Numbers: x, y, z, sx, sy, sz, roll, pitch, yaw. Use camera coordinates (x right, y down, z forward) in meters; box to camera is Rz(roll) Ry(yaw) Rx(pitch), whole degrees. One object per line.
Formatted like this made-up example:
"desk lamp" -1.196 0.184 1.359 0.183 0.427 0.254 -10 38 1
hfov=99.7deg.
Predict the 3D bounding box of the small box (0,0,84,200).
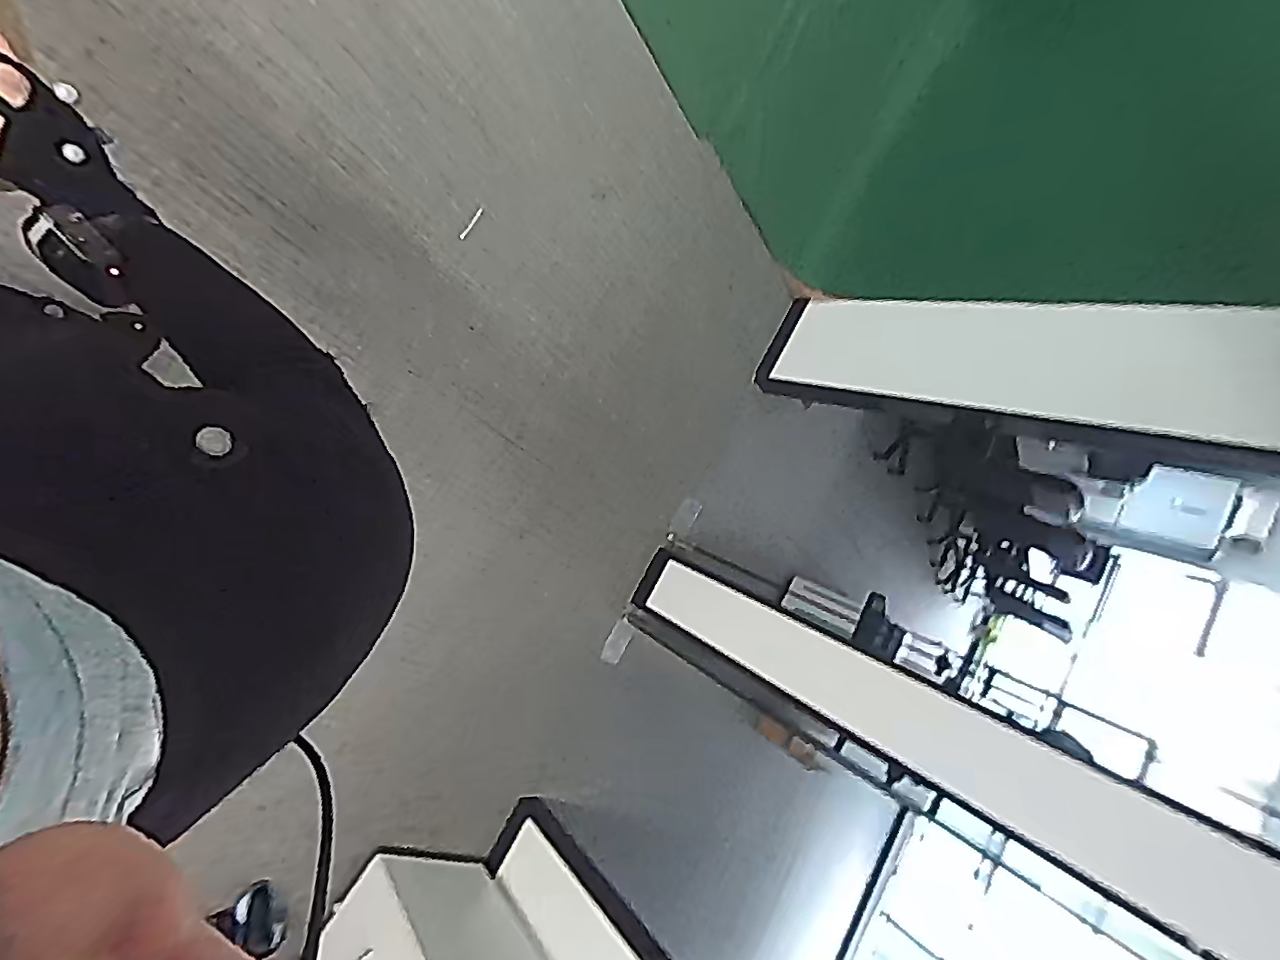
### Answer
"small box" -0.622 -0.355 0.443 0.168 0.176 0.179 -18 101 -27
